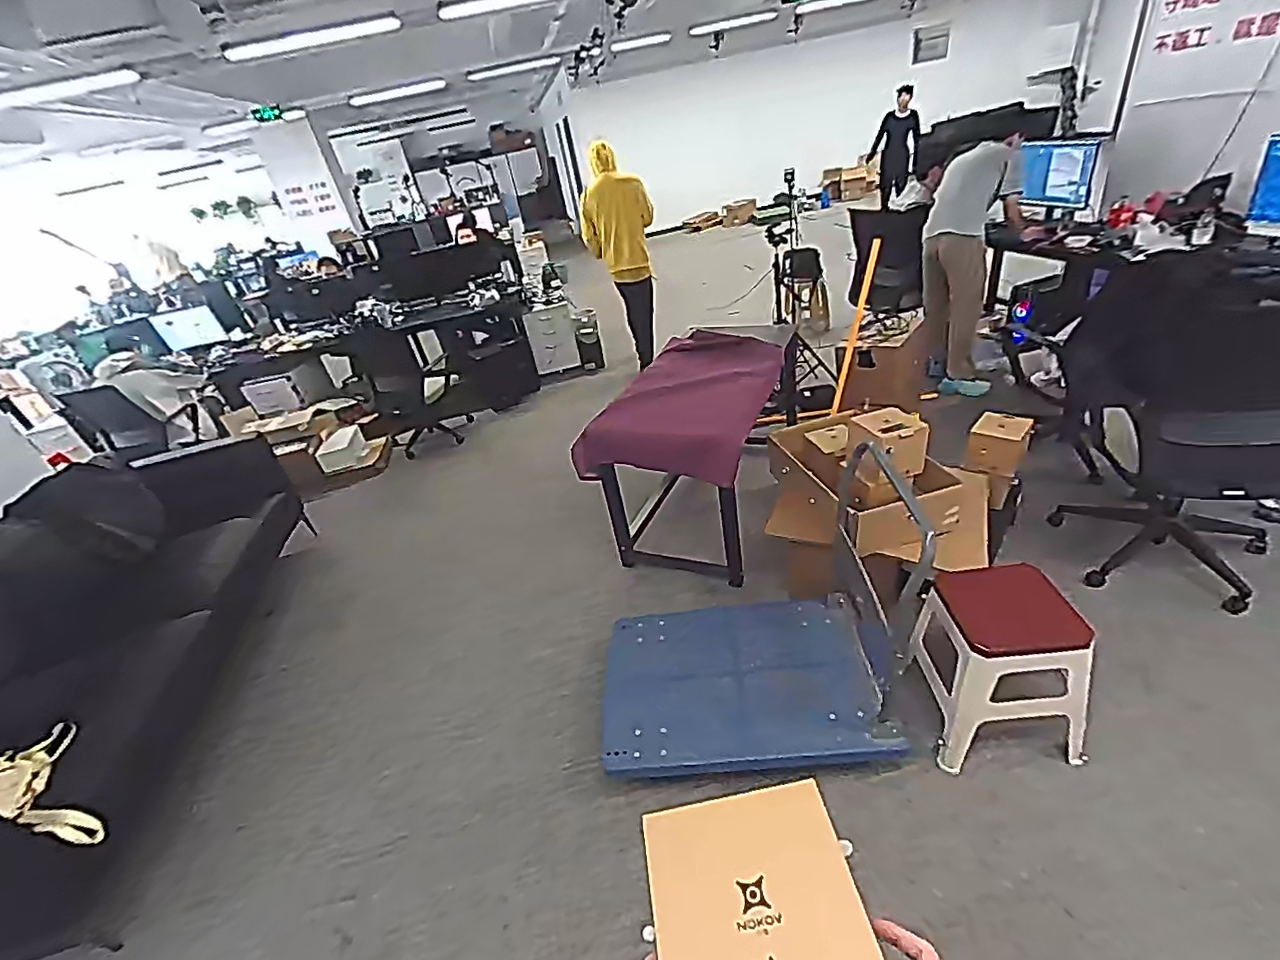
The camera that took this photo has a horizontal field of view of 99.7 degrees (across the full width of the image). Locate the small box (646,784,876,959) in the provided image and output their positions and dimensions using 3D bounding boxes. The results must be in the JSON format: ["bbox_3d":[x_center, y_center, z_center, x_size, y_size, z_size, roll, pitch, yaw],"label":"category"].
[{"bbox_3d":[0.105,0.413,0.483,0.168,0.176,0.179,-12,34,1],"label":"small box"}]
